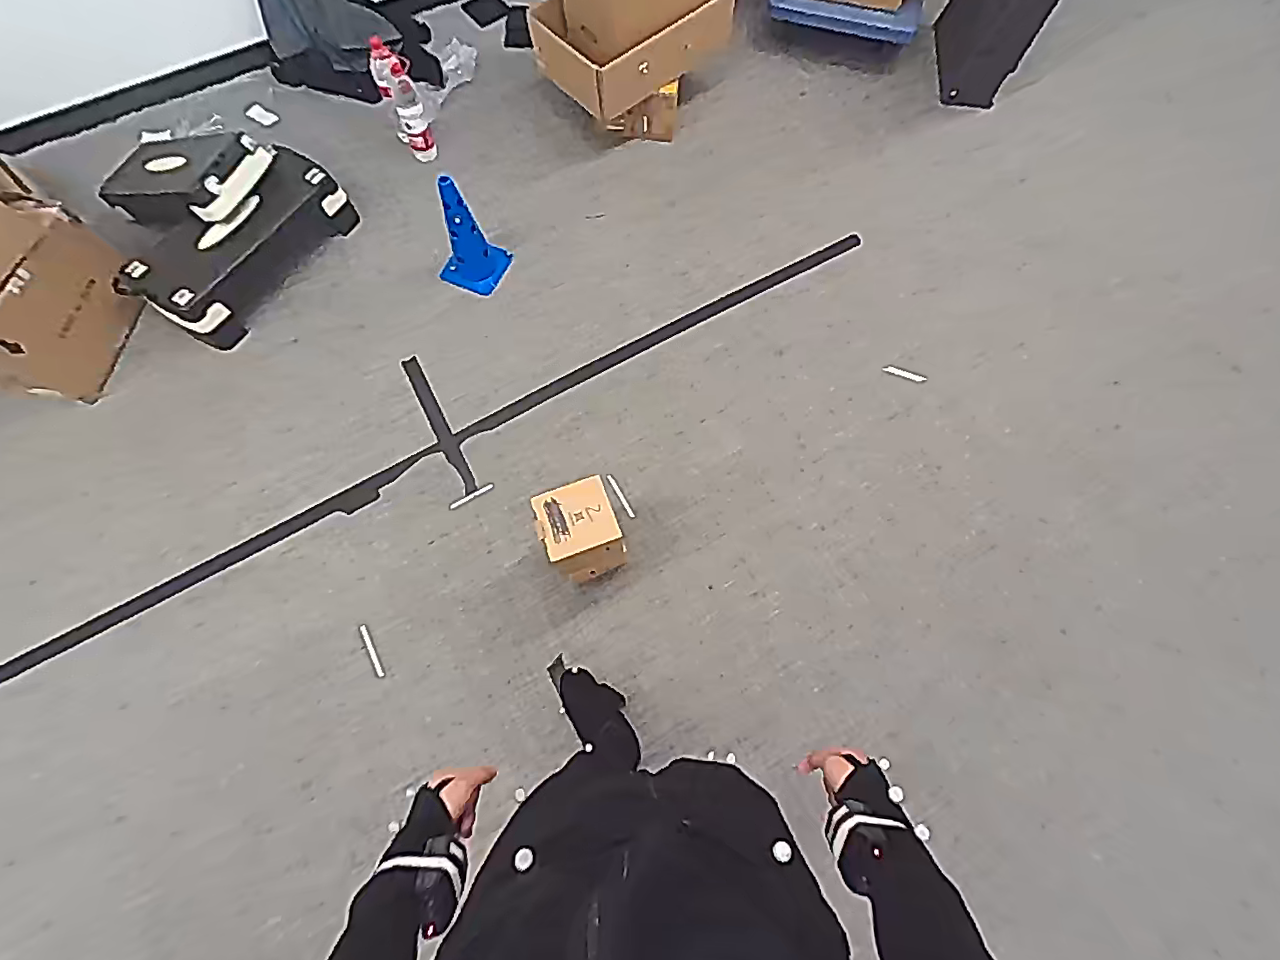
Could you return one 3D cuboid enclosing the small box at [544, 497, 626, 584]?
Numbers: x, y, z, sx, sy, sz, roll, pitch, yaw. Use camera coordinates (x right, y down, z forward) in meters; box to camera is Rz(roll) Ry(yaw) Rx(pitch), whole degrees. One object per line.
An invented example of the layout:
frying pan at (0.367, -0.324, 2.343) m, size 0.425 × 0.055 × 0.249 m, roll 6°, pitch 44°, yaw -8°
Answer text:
small box at (-0.145, 0.173, 1.487) m, size 0.168 × 0.176 × 0.179 m, roll -24°, pitch 72°, yaw -9°
